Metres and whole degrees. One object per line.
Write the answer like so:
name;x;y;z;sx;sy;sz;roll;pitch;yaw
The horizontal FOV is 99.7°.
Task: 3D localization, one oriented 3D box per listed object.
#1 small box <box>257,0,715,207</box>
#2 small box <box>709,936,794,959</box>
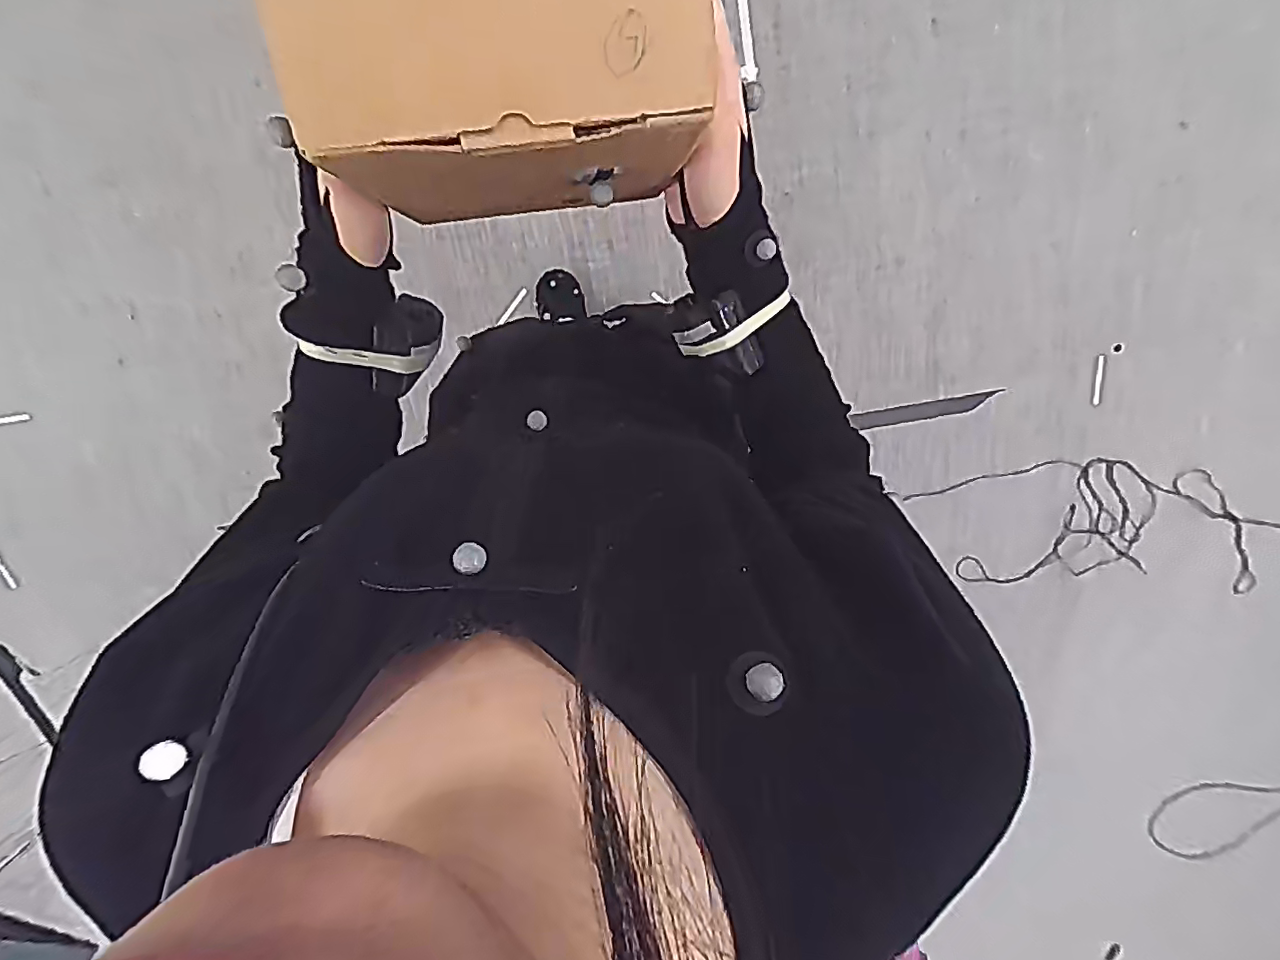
small box;-0.068;-0.242;0.259;0.168;0.176;0.179;-9;107;-5
small box;0.235;1.031;1.054;0.168;0.176;0.179;-9;110;0
